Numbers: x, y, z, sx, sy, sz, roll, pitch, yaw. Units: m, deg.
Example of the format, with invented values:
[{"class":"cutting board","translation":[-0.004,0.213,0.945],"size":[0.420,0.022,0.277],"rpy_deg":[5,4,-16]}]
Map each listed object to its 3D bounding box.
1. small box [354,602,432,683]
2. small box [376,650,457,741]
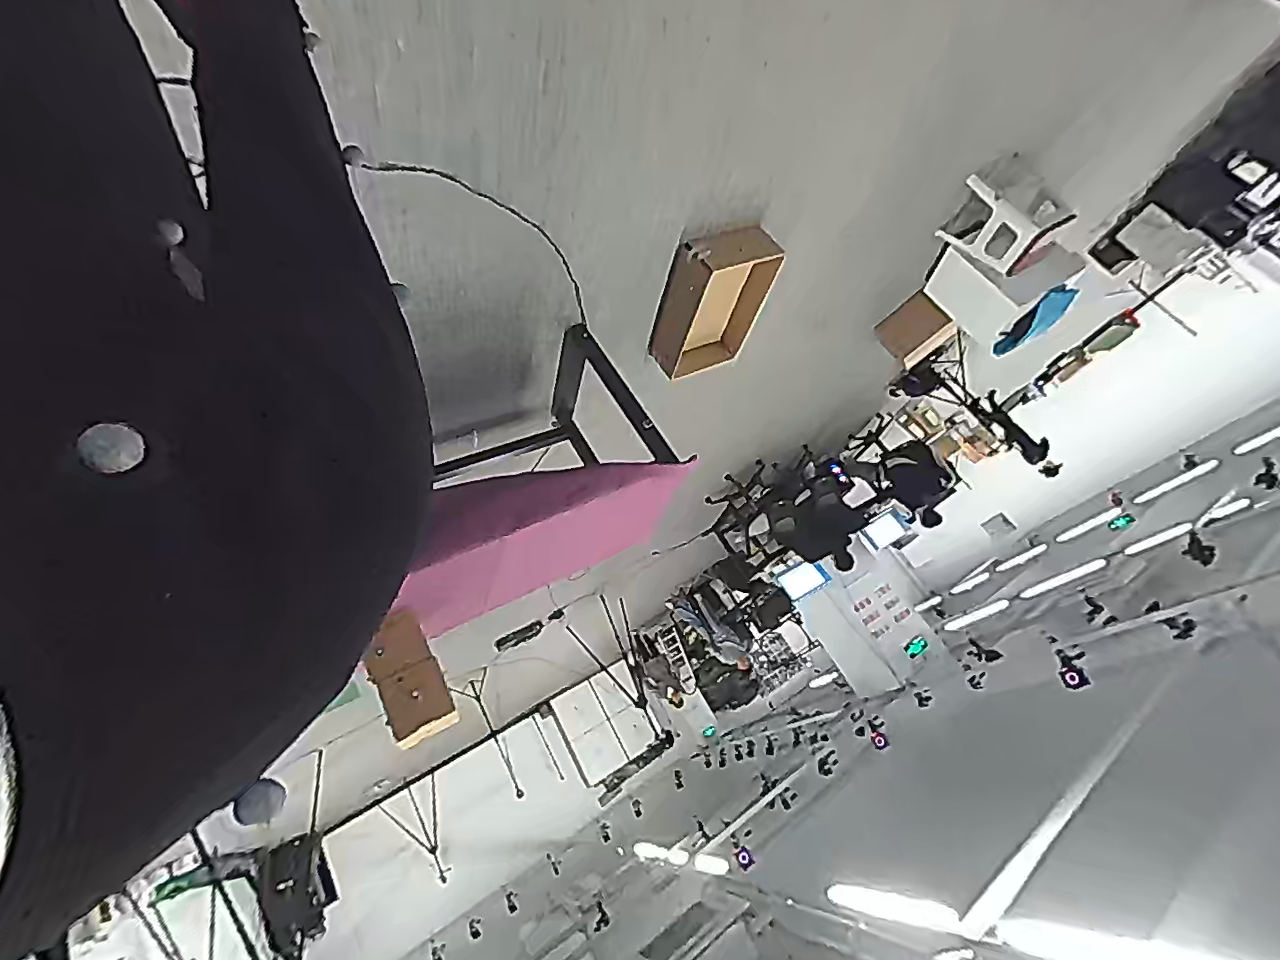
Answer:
[{"class":"small box","translation":[-0.722,0.481,1.591],"size":[0.168,0.176,0.179],"rpy_deg":[-21,157,-28]},{"class":"small box","translation":[-0.633,0.608,1.536],"size":[0.168,0.176,0.179],"rpy_deg":[-21,156,-27]}]
